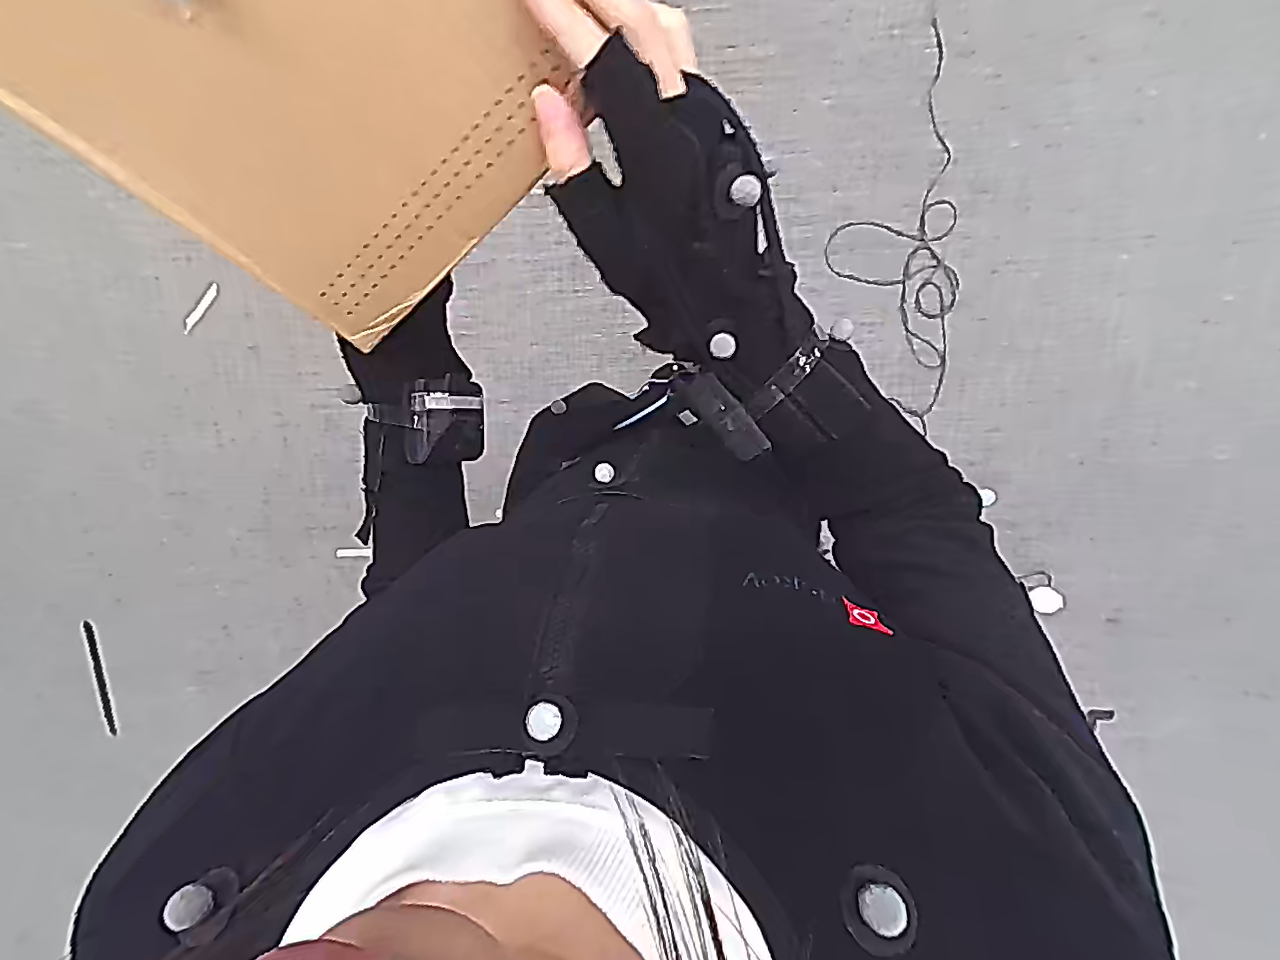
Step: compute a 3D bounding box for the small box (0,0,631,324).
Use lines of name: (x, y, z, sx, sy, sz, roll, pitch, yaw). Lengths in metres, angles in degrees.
small box: (-0.133, -0.213, 0.265, 0.179, 0.168, 0.176, -37, 135, 16)
